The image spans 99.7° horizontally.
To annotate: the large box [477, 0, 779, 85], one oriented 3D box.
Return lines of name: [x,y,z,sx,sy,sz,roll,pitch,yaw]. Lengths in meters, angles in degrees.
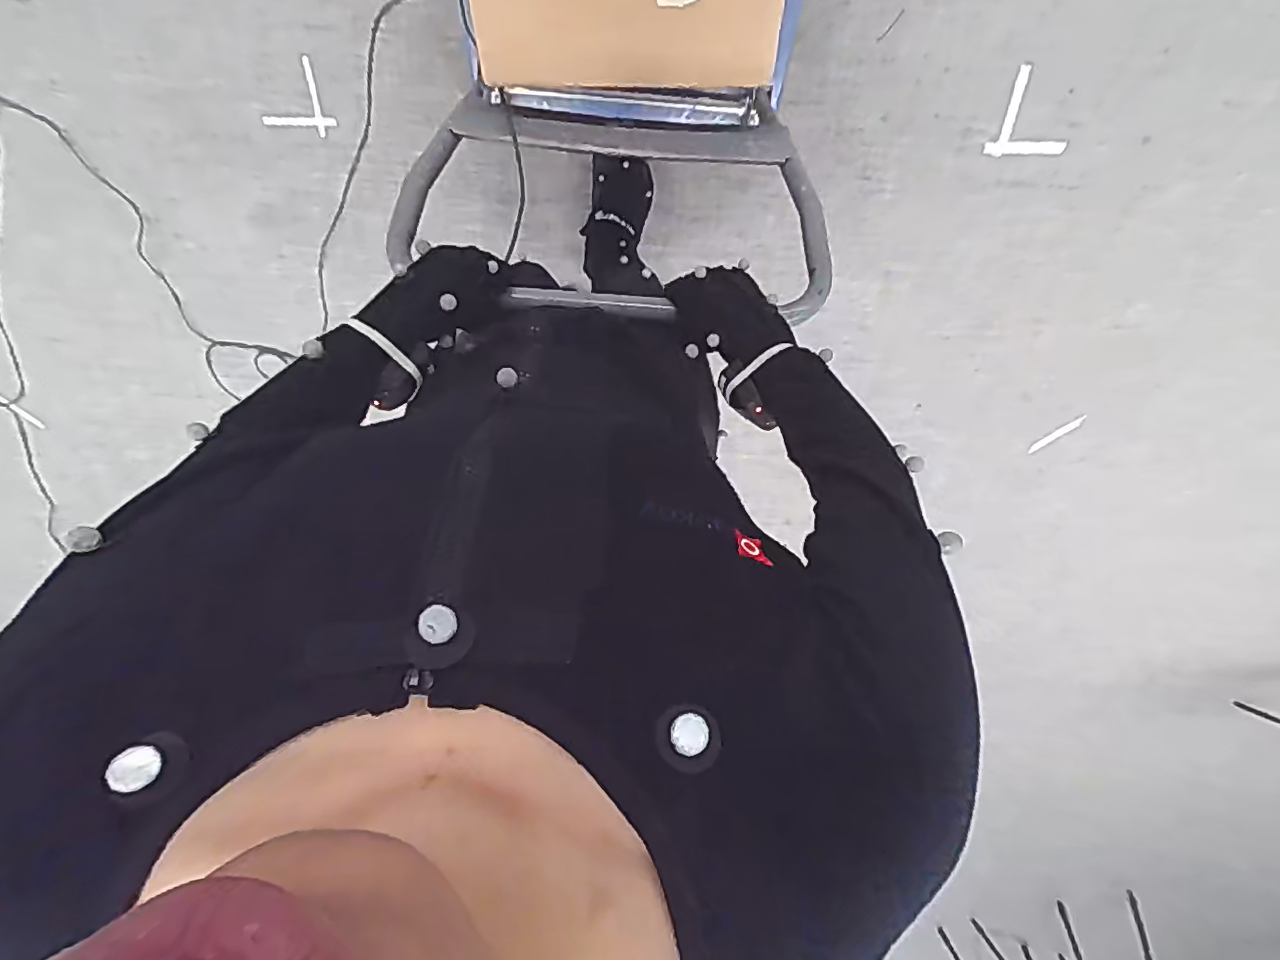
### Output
large box: [-0.019,-0.781,0.758,0.408,0.320,0.320,-1,138,0]
